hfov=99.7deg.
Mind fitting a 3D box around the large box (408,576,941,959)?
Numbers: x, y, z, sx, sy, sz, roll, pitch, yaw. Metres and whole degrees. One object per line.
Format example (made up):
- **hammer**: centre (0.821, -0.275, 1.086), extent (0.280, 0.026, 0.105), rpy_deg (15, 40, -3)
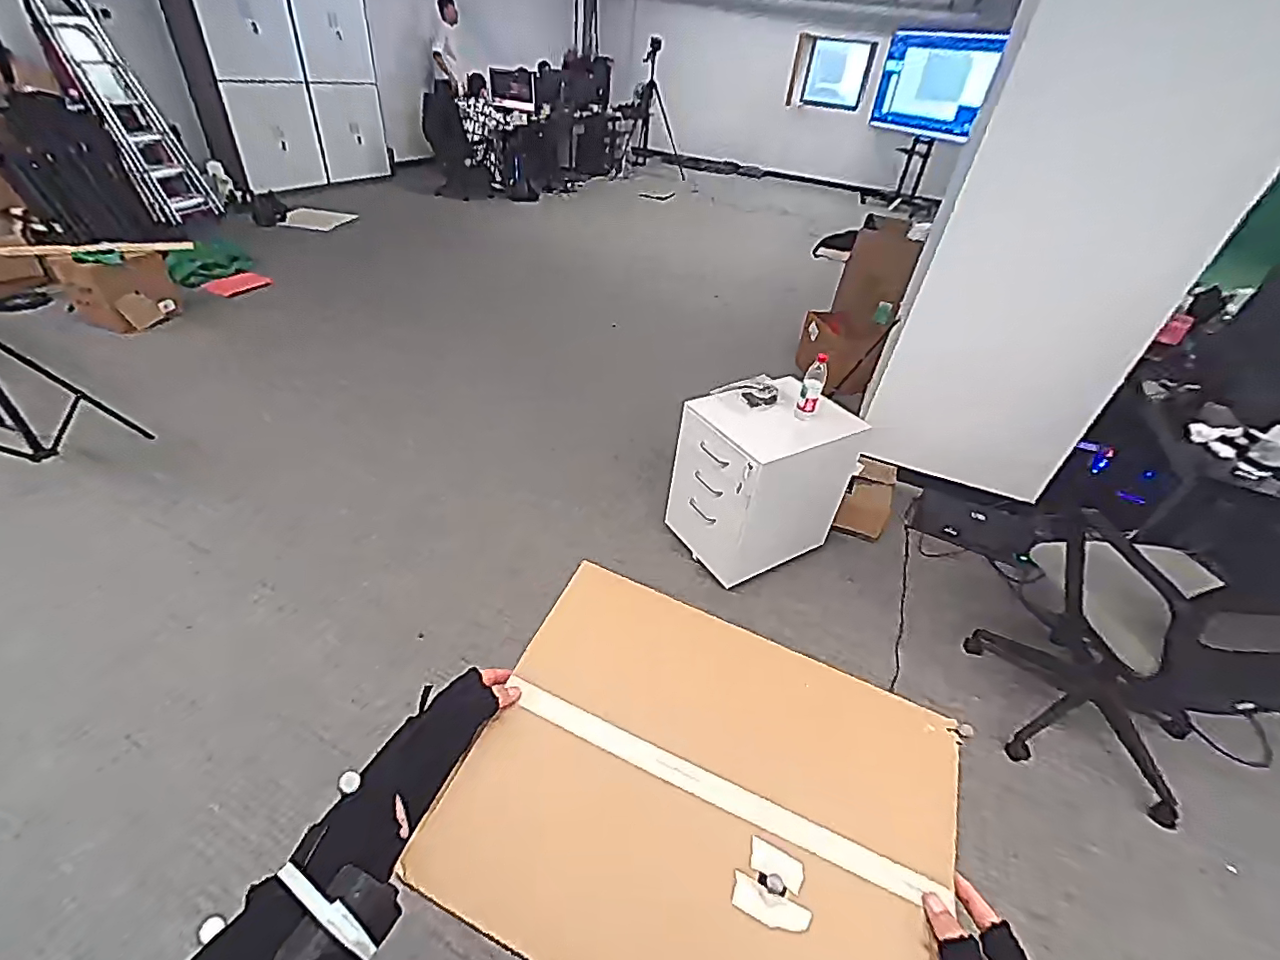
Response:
- **large box**: centre (0.040, 0.373, 0.582), extent (0.408, 0.320, 0.320), rpy_deg (22, 49, 11)
